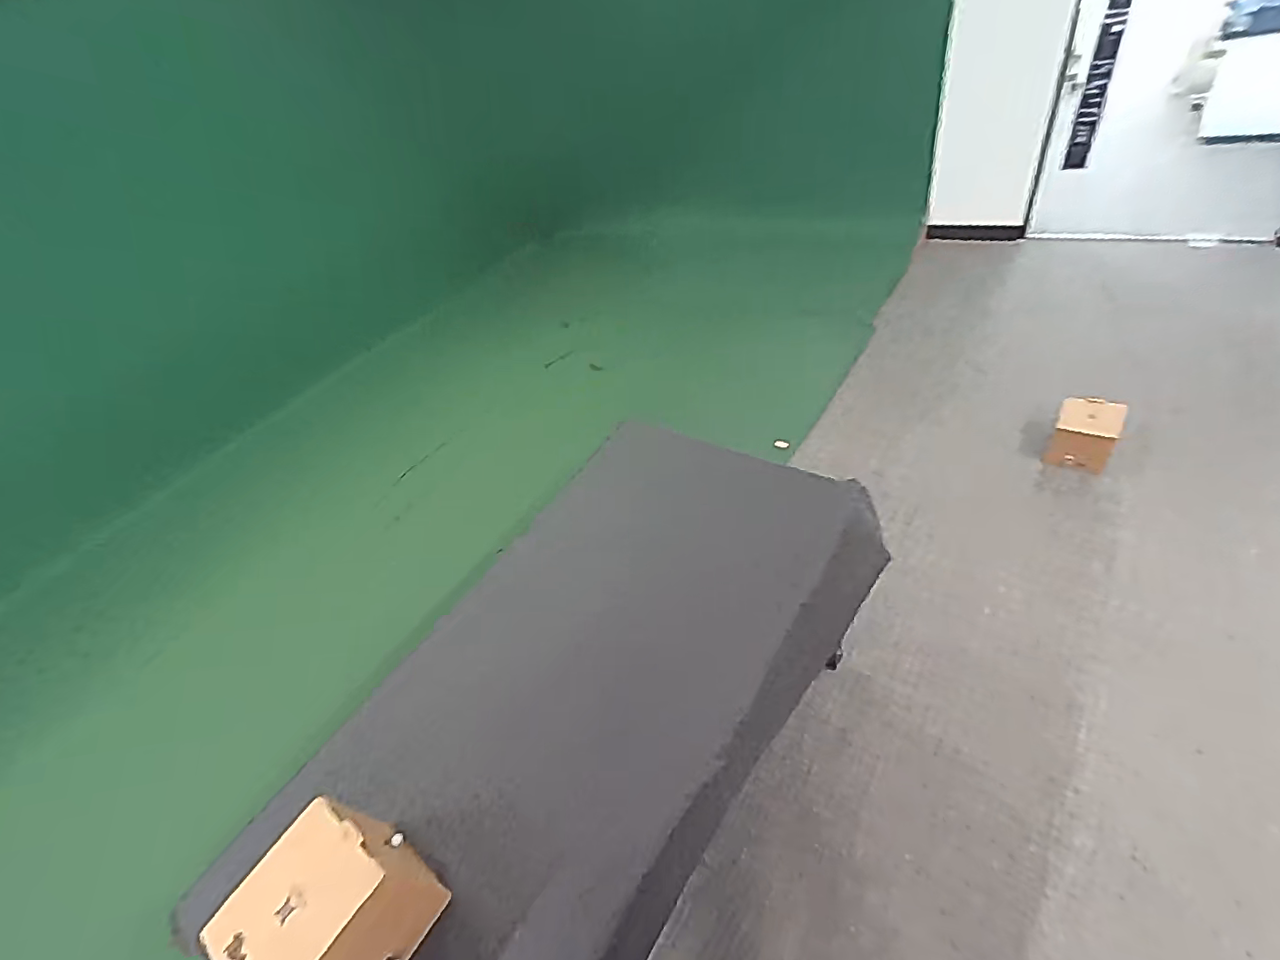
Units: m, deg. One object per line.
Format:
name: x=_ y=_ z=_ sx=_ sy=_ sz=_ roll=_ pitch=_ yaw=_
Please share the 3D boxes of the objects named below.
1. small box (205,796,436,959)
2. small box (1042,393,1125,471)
small box: x=-0.396 y=0.563 z=0.705 sx=0.168 sy=0.176 sz=0.179 roll=19 pitch=54 yaw=33
small box: x=1.475 y=-0.162 z=1.807 sx=0.168 sy=0.176 sz=0.179 roll=20 pitch=56 yaw=36
